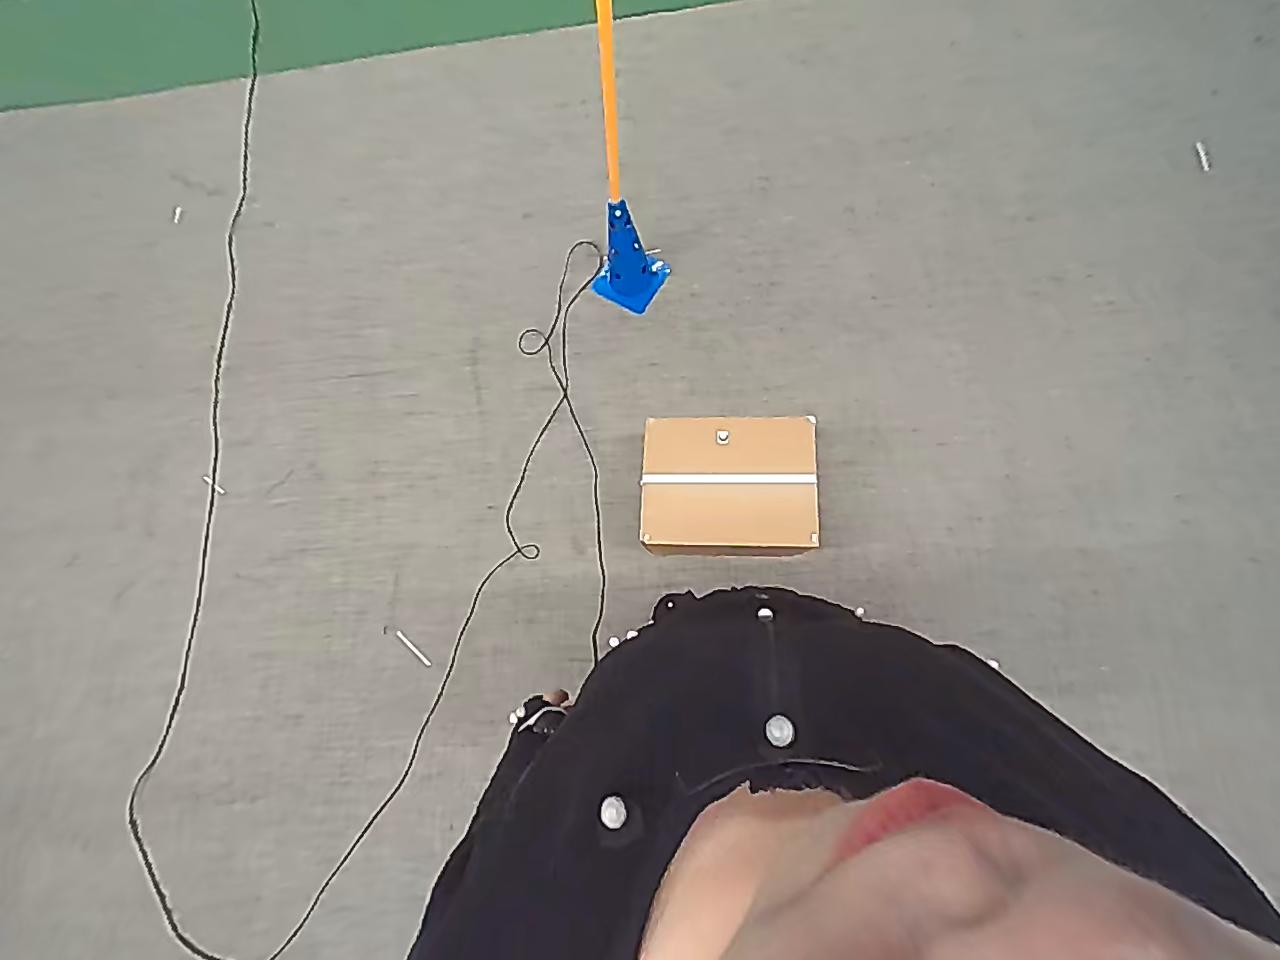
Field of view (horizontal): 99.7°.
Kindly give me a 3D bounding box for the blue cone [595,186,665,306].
[{"bbox_3d":[-0.048,-0.700,1.568,0.192,0.380,0.193,28,80,11],"label":"blue cone"}]
